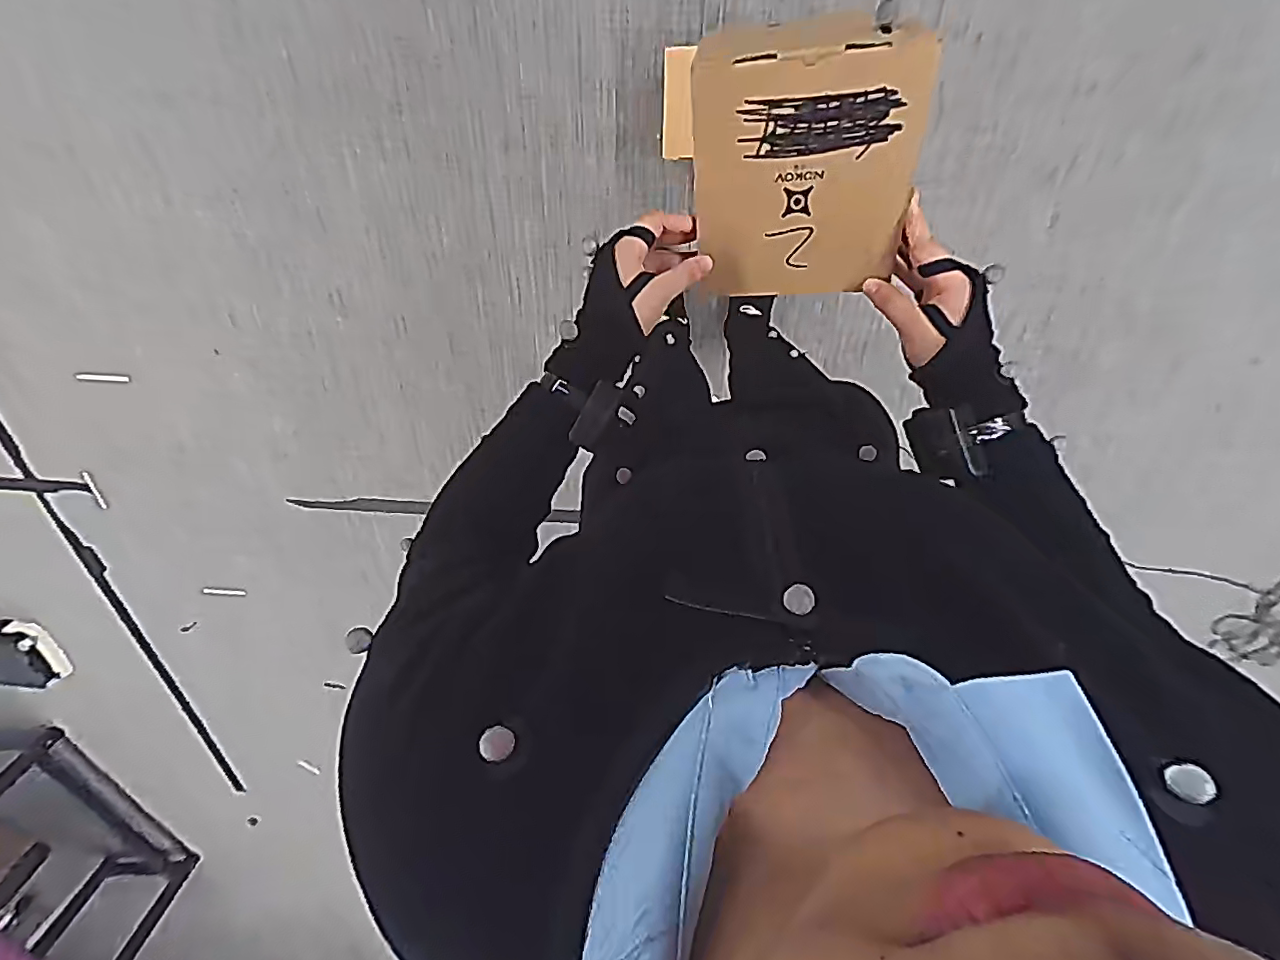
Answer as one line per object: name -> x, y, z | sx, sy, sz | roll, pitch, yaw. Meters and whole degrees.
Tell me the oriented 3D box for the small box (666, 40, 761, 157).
small box -> 0.135, -0.739, 1.063 | 0.168, 0.176, 0.179 | 1, 122, 3
